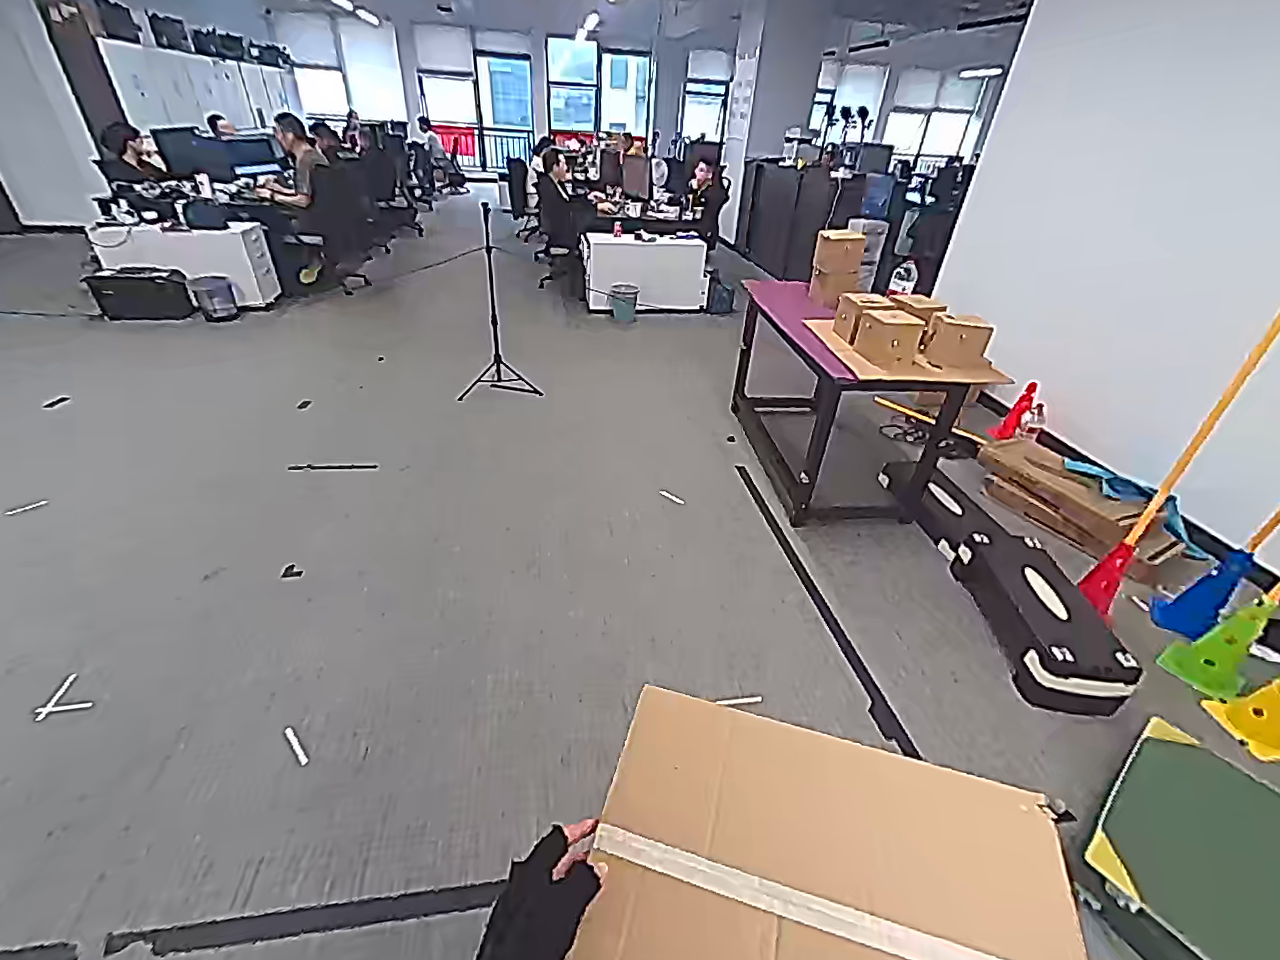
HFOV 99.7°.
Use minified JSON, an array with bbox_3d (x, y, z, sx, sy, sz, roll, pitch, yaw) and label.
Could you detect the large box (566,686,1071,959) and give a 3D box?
[{"bbox_3d":[0.156,0.480,0.570,0.408,0.320,0.320,12,42,13],"label":"large box"}]
